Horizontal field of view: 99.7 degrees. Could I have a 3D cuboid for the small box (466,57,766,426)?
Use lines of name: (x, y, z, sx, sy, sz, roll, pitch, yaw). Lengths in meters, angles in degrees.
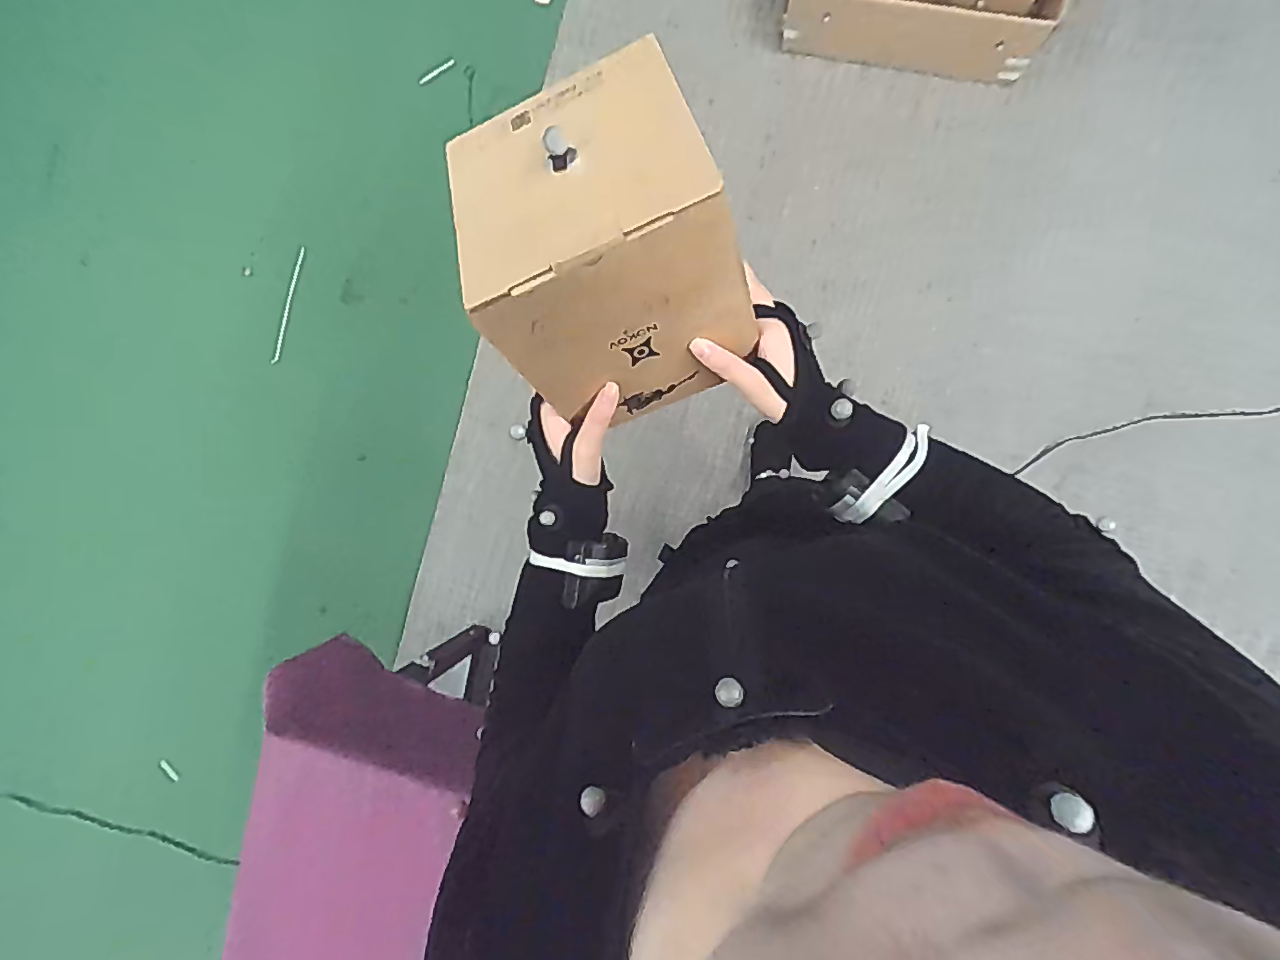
small box: (-0.016, -0.175, 0.415, 0.168, 0.179, 0.176, -19, 63, 12)
